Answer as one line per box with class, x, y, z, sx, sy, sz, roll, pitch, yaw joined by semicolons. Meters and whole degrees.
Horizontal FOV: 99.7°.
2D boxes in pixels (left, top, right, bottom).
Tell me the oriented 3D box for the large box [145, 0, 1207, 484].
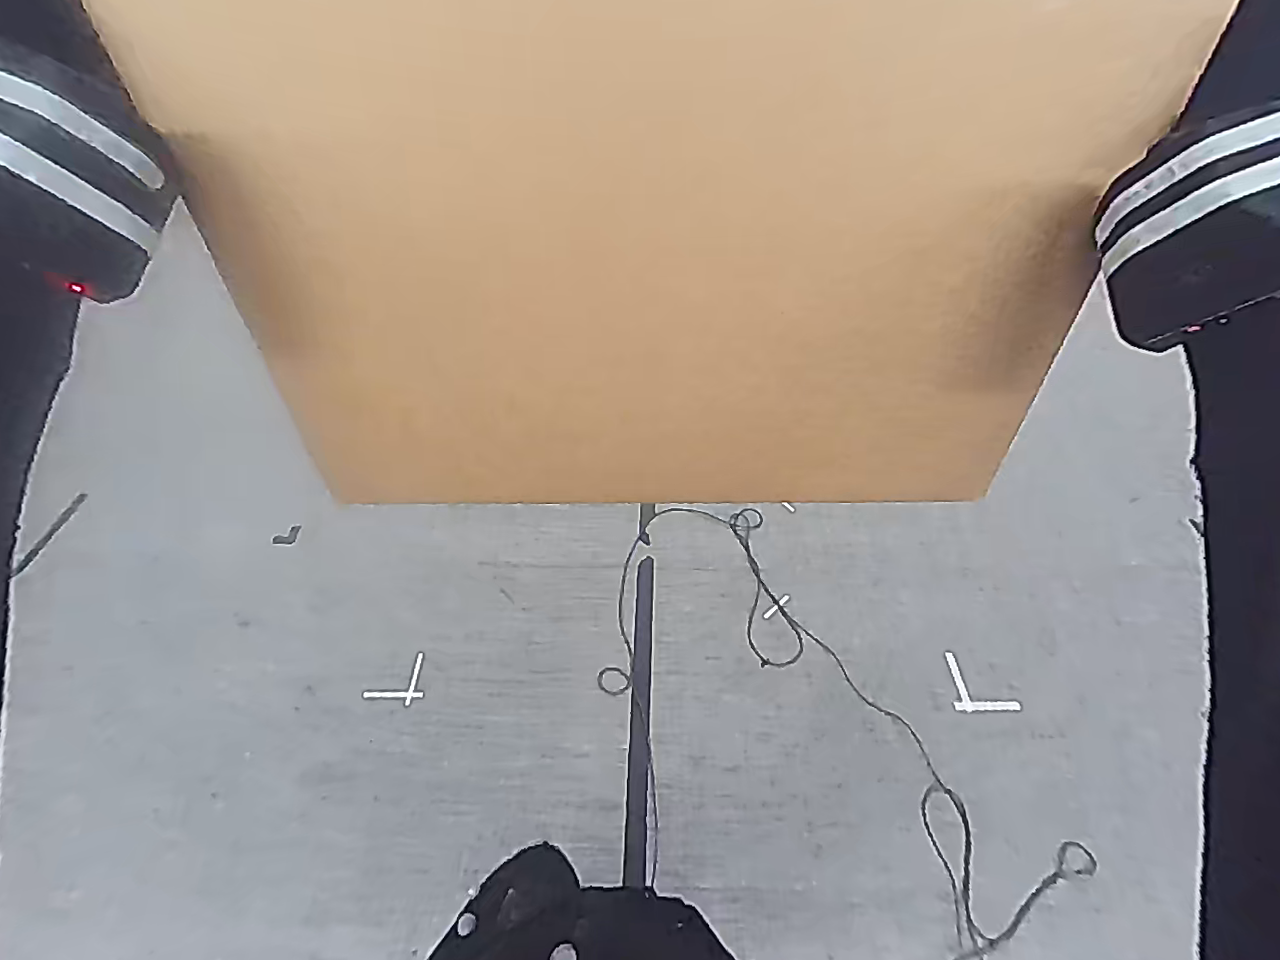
large box;0.012;-0.206;0.363;0.408;0.320;0.320;0;40;0
